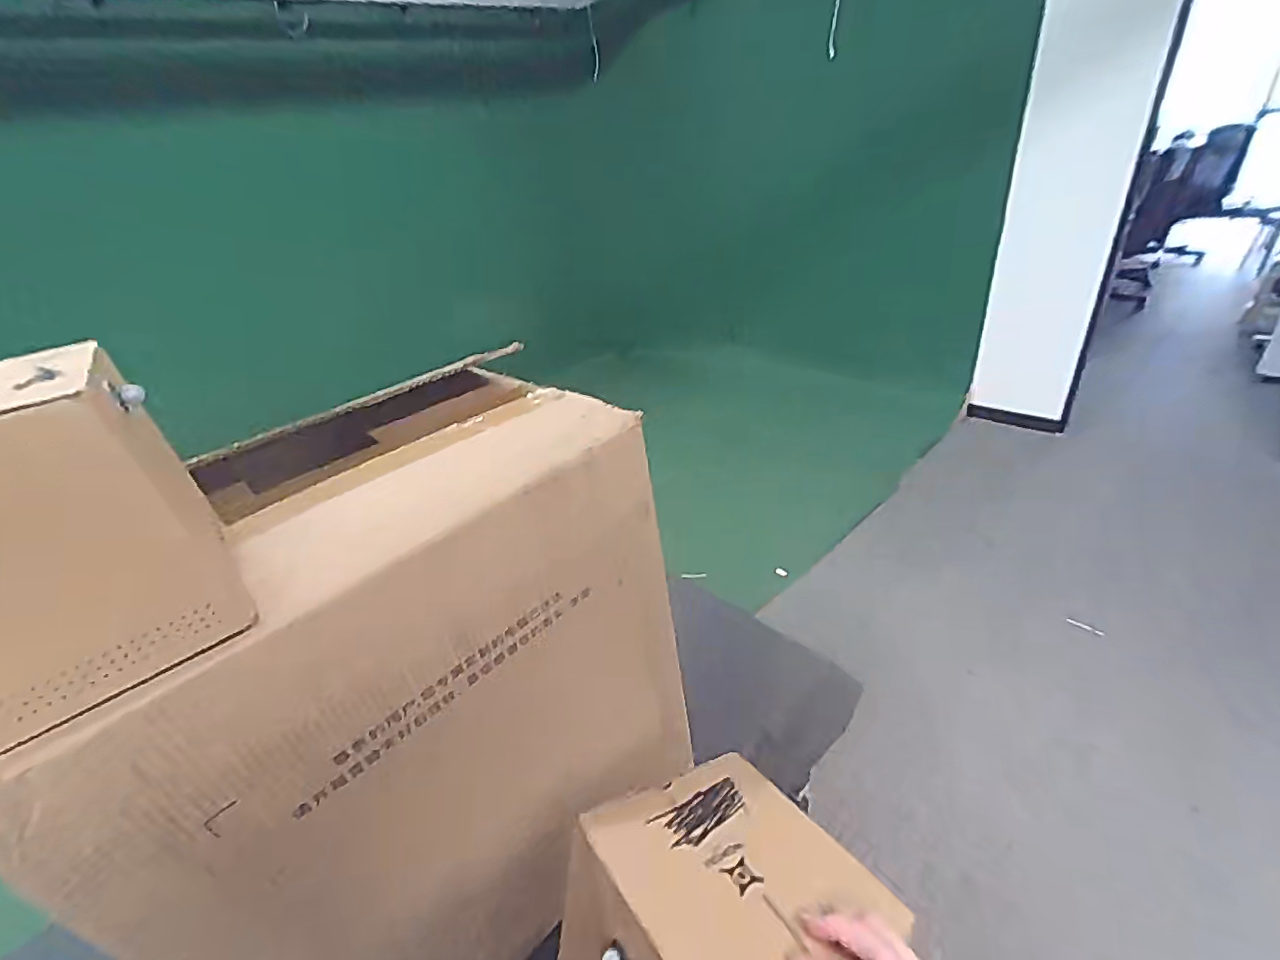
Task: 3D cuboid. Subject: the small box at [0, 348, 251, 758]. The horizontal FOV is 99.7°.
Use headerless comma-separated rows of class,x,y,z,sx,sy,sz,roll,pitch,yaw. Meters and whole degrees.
small box,-0.378,0.042,0.320,0.179,0.176,0.168,-30,39,-30
